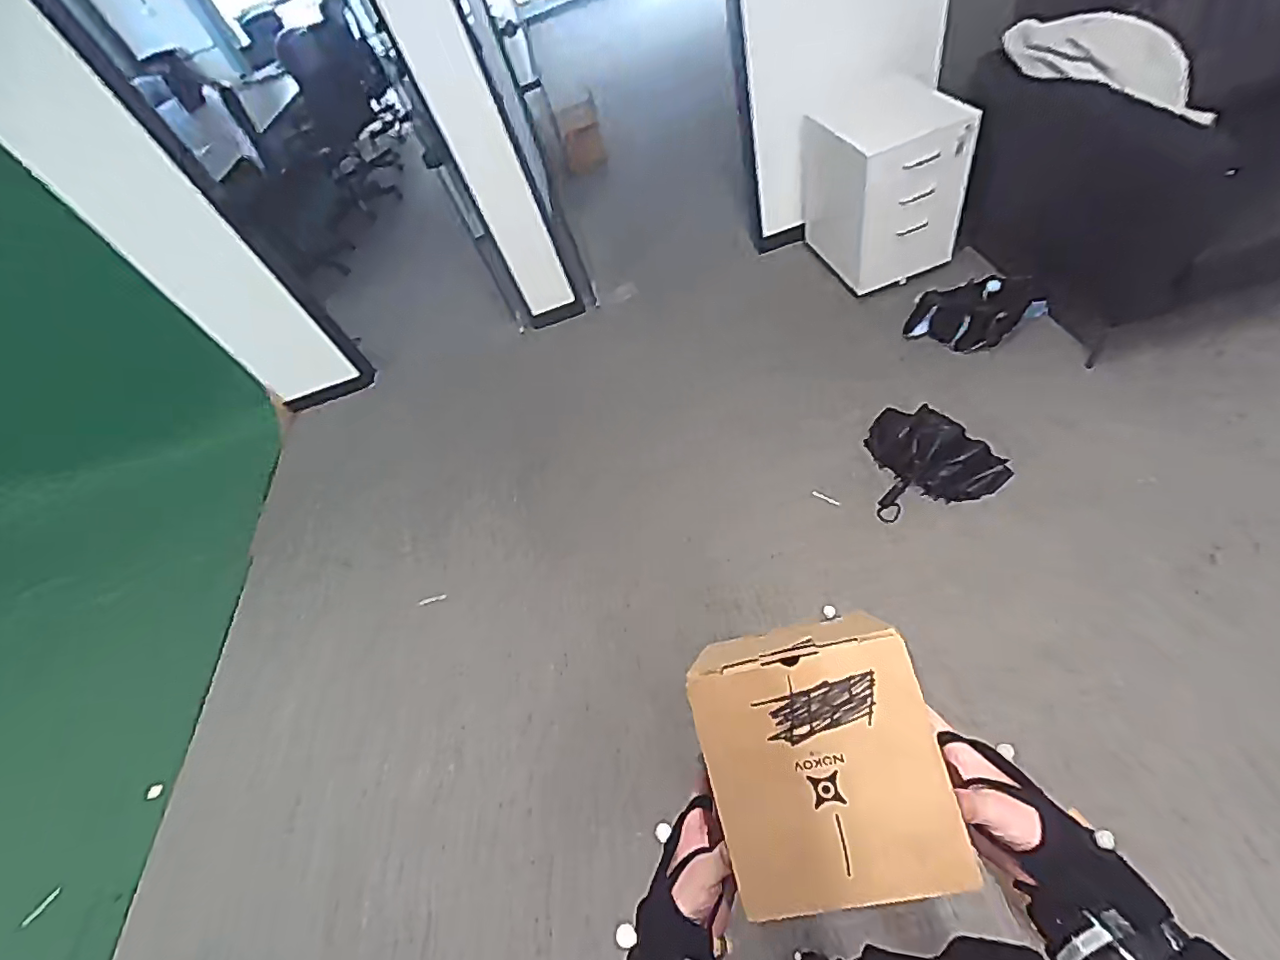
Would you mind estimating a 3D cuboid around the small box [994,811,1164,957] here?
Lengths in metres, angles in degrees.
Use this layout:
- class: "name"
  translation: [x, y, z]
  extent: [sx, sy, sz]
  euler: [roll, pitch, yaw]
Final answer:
- class: "small box"
  translation: [0.821, 0.773, 1.039]
  extent: [0.179, 0.176, 0.168]
  euler: [-28, 51, -4]
